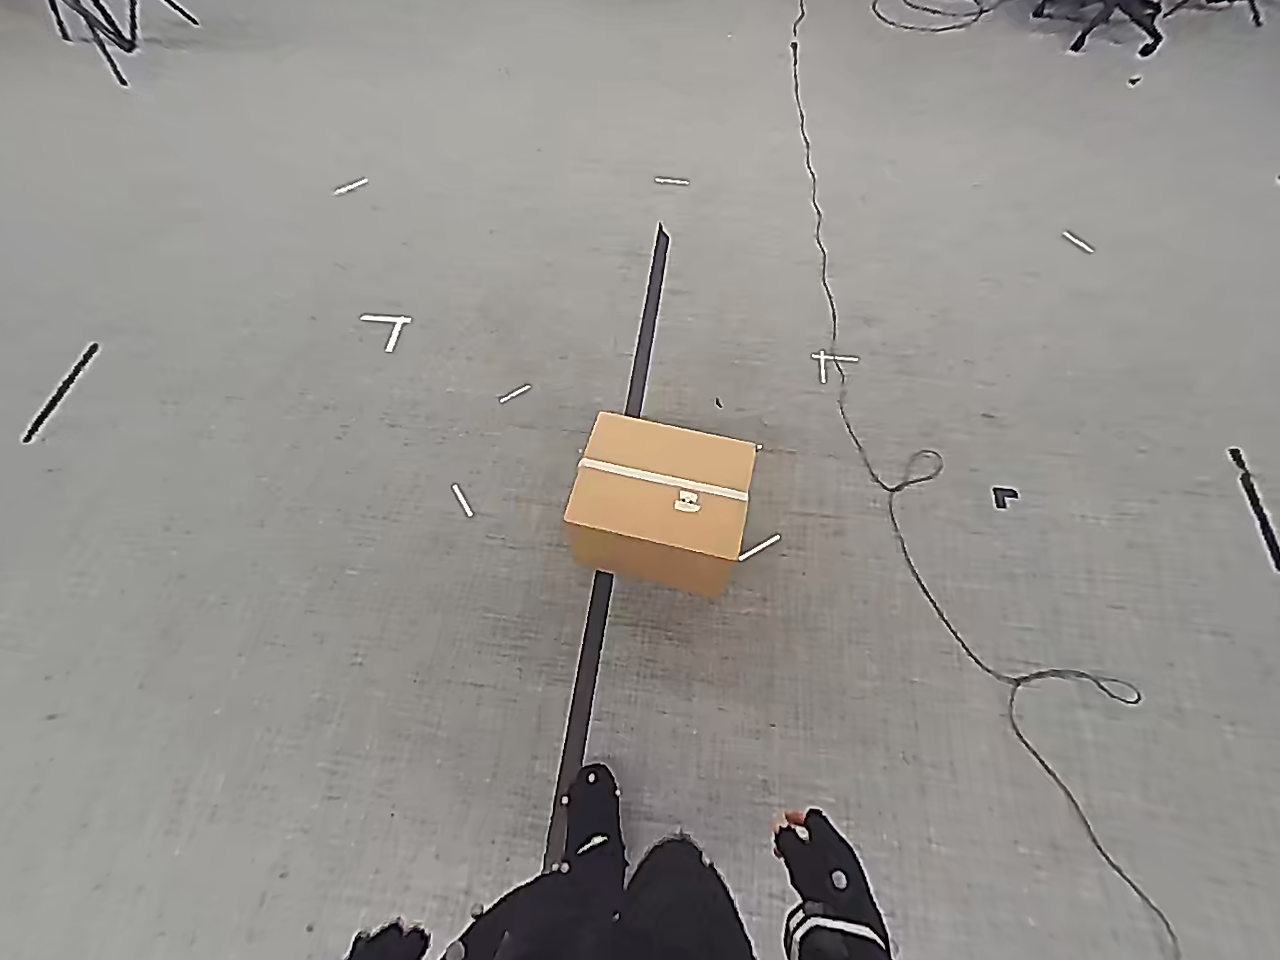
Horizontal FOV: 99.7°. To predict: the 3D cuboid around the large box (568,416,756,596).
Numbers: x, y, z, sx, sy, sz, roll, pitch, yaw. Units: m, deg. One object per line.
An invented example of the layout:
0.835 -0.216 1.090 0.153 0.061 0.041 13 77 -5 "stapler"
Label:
0.055 0.076 1.413 0.408 0.320 0.320 13 63 6 "large box"
